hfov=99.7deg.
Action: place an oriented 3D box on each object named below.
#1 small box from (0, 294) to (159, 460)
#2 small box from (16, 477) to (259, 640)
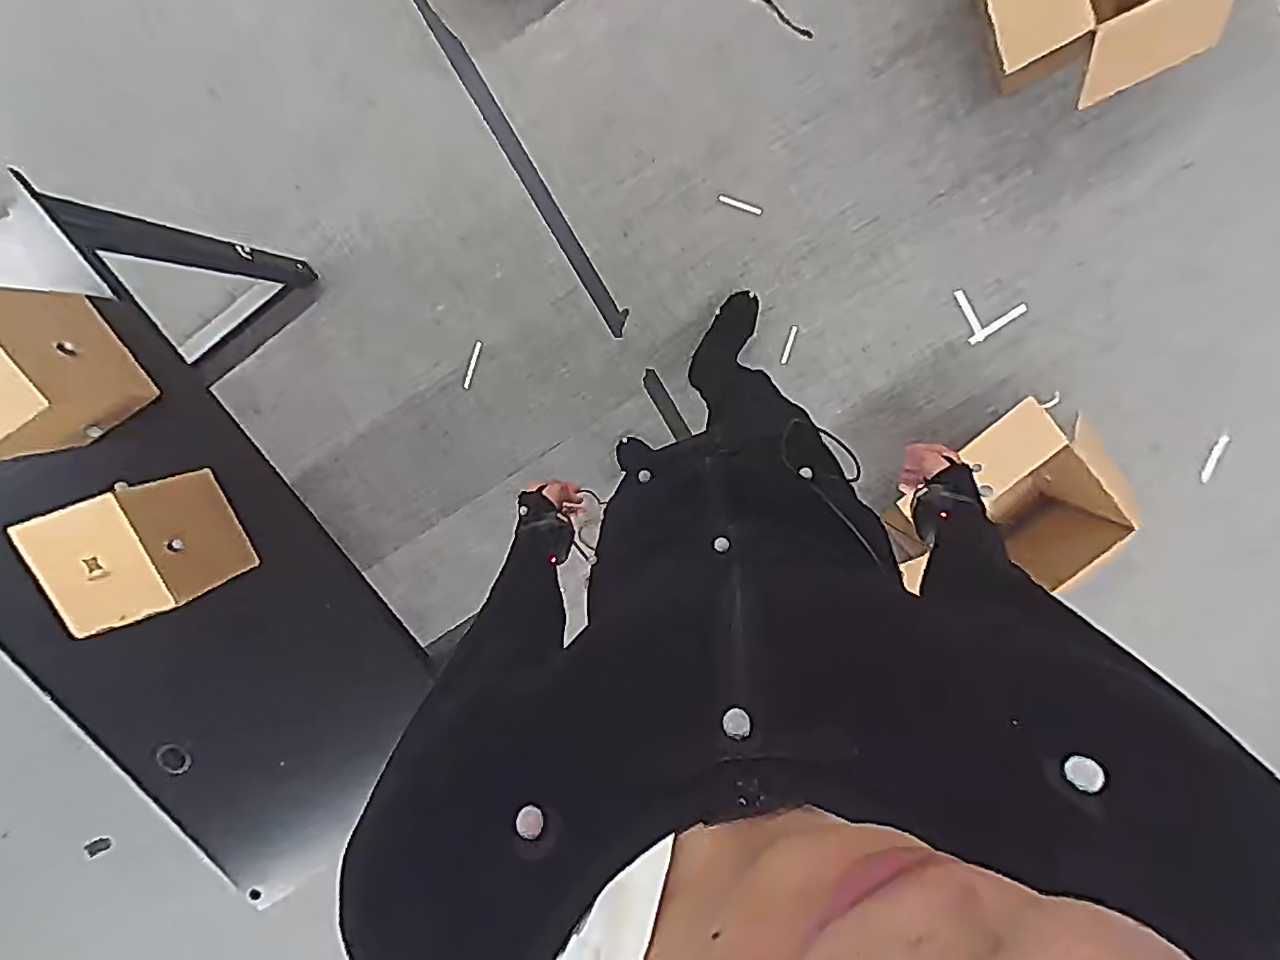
[{"bbox_3d":[-0.857,-0.142,0.759,0.168,0.176,0.179,-30,103,8],"label":"small box"},{"bbox_3d":[-0.739,0.105,0.819,0.168,0.176,0.179,-19,103,5],"label":"small box"}]
